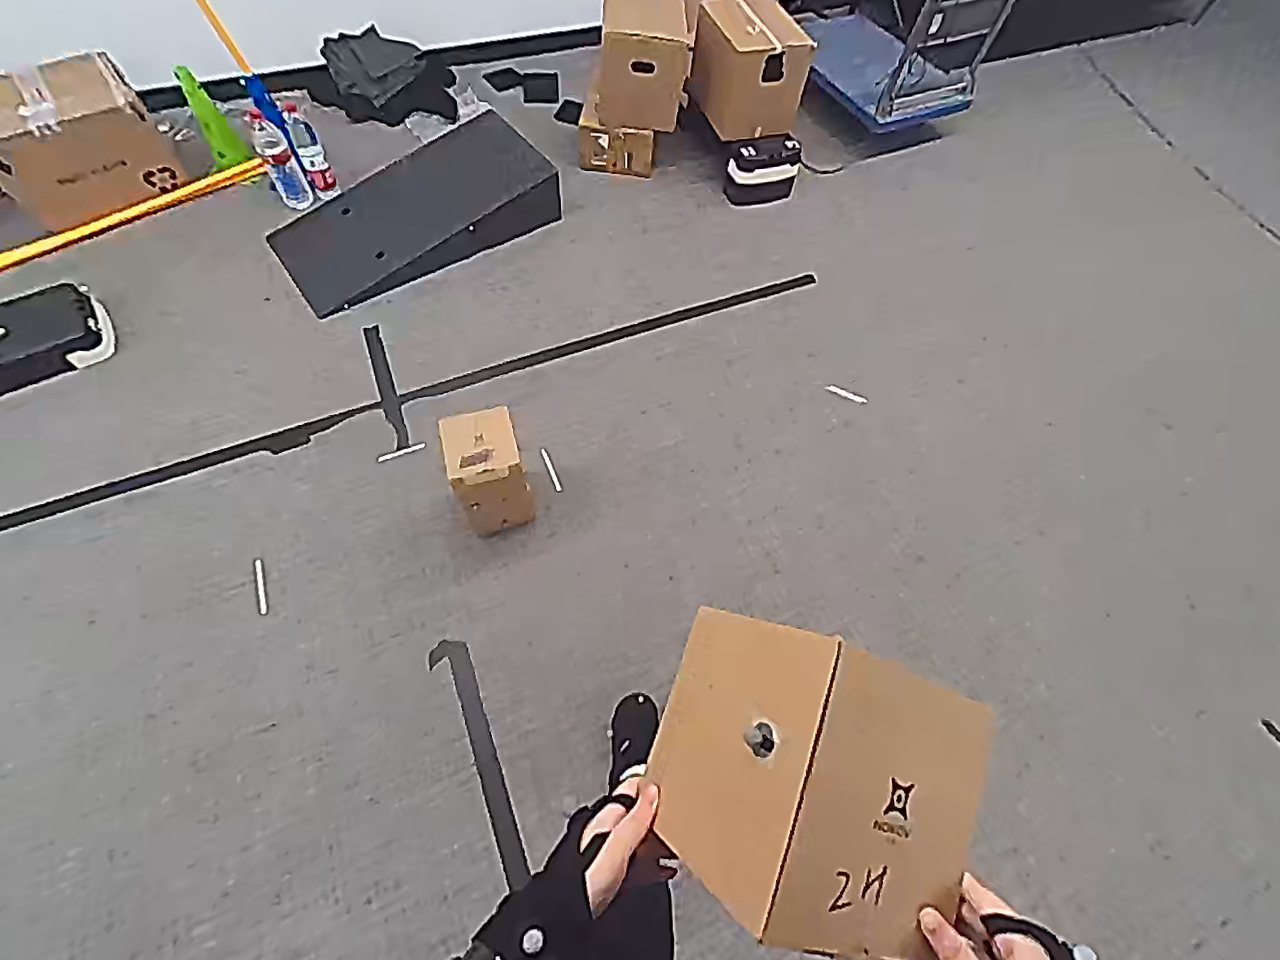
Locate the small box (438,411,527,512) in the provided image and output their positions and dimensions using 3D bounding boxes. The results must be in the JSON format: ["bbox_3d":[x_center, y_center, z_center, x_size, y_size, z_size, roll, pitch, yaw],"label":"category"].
[{"bbox_3d":[-0.379,-0.037,1.318,0.168,0.176,0.179,-13,62,-12],"label":"small box"}]

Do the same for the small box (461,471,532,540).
[{"bbox_3d":[-0.396,0.040,1.463,0.179,0.176,0.168,-17,63,-15],"label":"small box"}]
